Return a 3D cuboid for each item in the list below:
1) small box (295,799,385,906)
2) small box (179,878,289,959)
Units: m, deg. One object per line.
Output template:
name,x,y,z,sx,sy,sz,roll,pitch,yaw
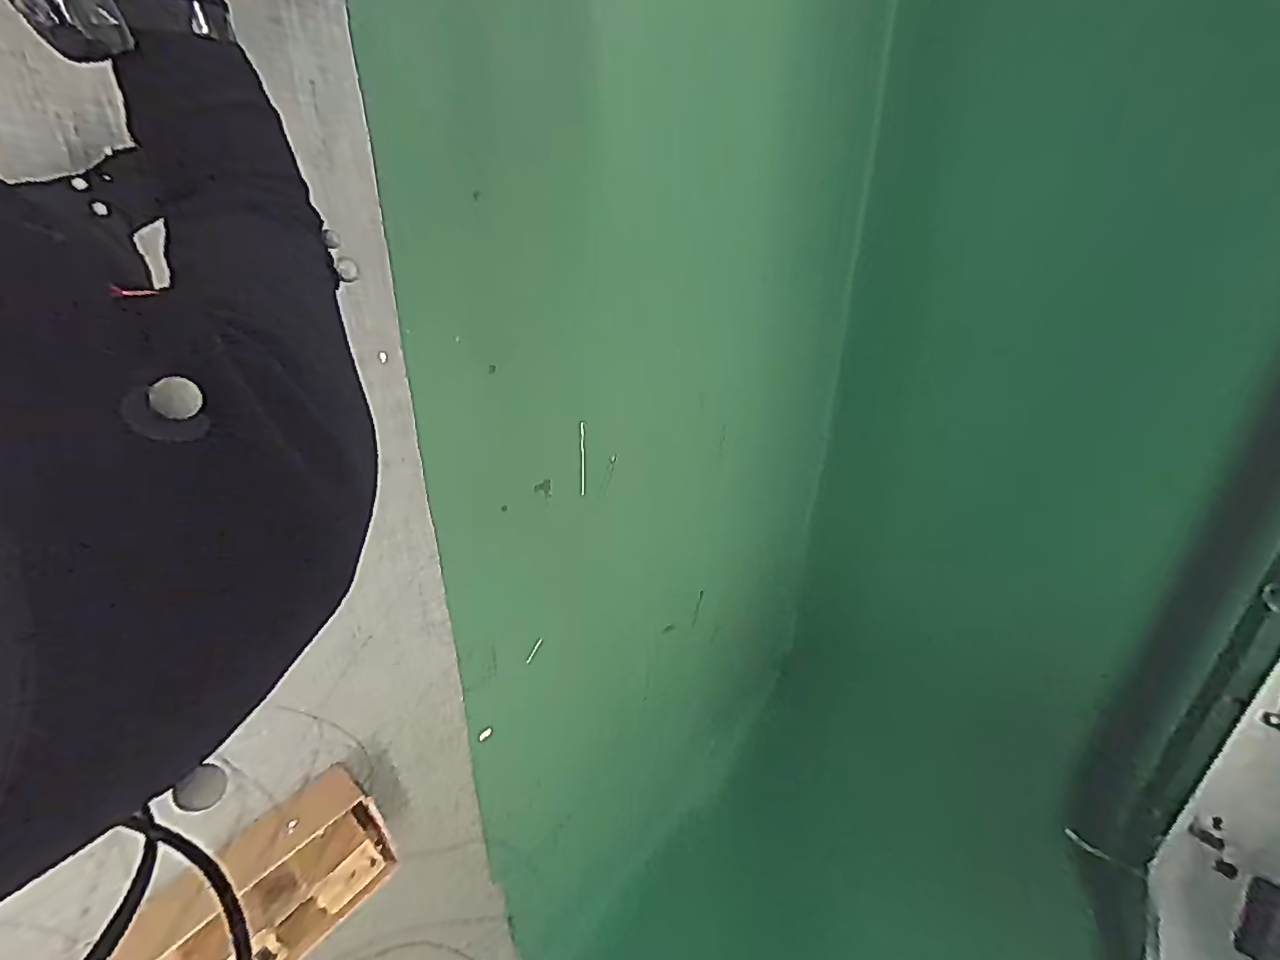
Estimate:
small box,-0.926,1.135,1.659,0.179,0.176,0.168,-34,132,-37
small box,-1.110,1.252,1.479,0.179,0.176,0.168,-31,129,-40
